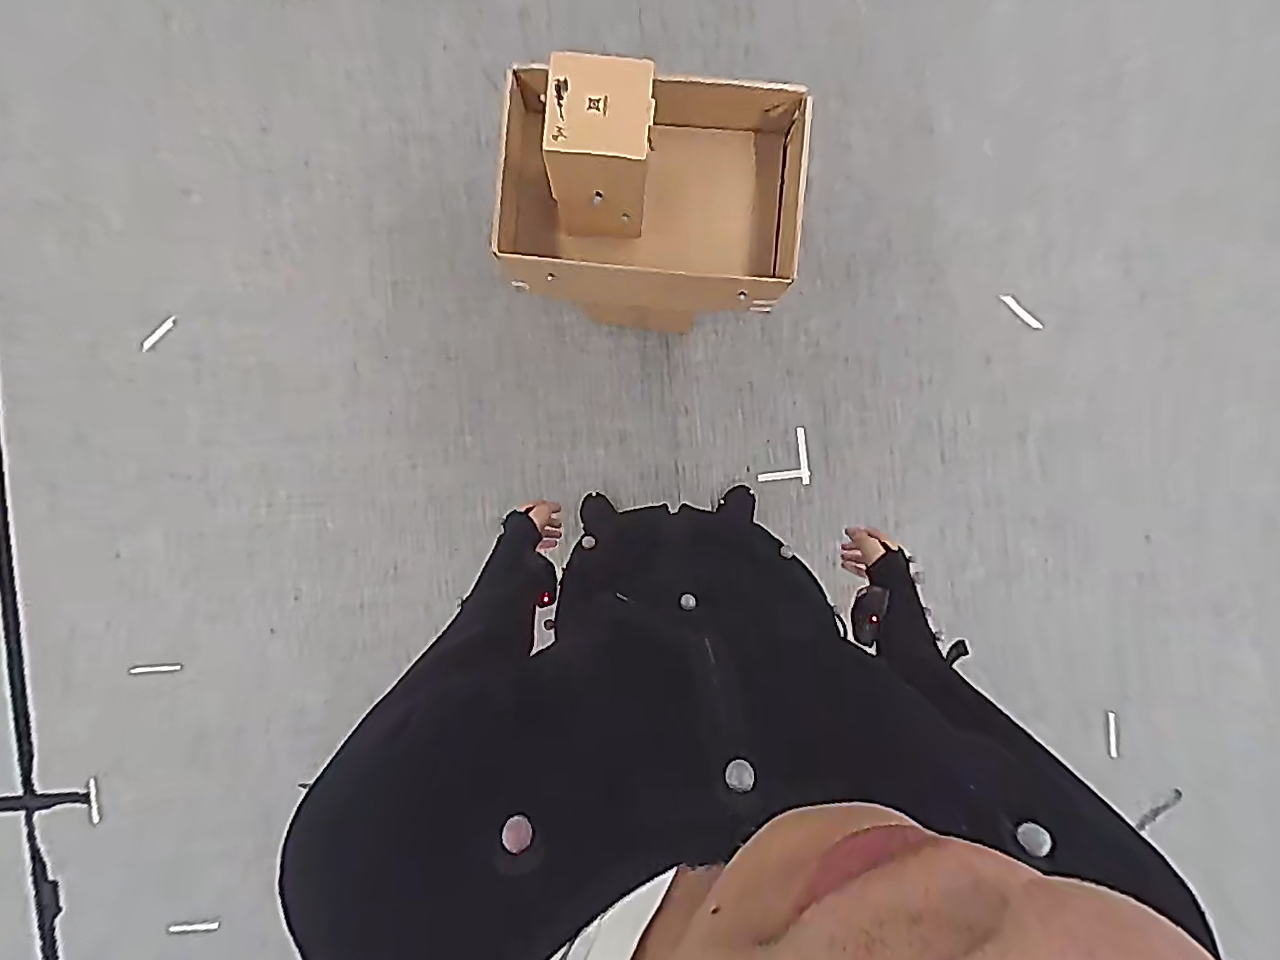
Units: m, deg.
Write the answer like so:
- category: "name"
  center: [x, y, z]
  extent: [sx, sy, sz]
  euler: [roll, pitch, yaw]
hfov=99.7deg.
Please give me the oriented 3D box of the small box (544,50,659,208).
- category: "small box"
  center: [-0.067, -0.614, 0.968]
  extent: [0.179, 0.176, 0.168]
  euler: [6, 90, -3]
